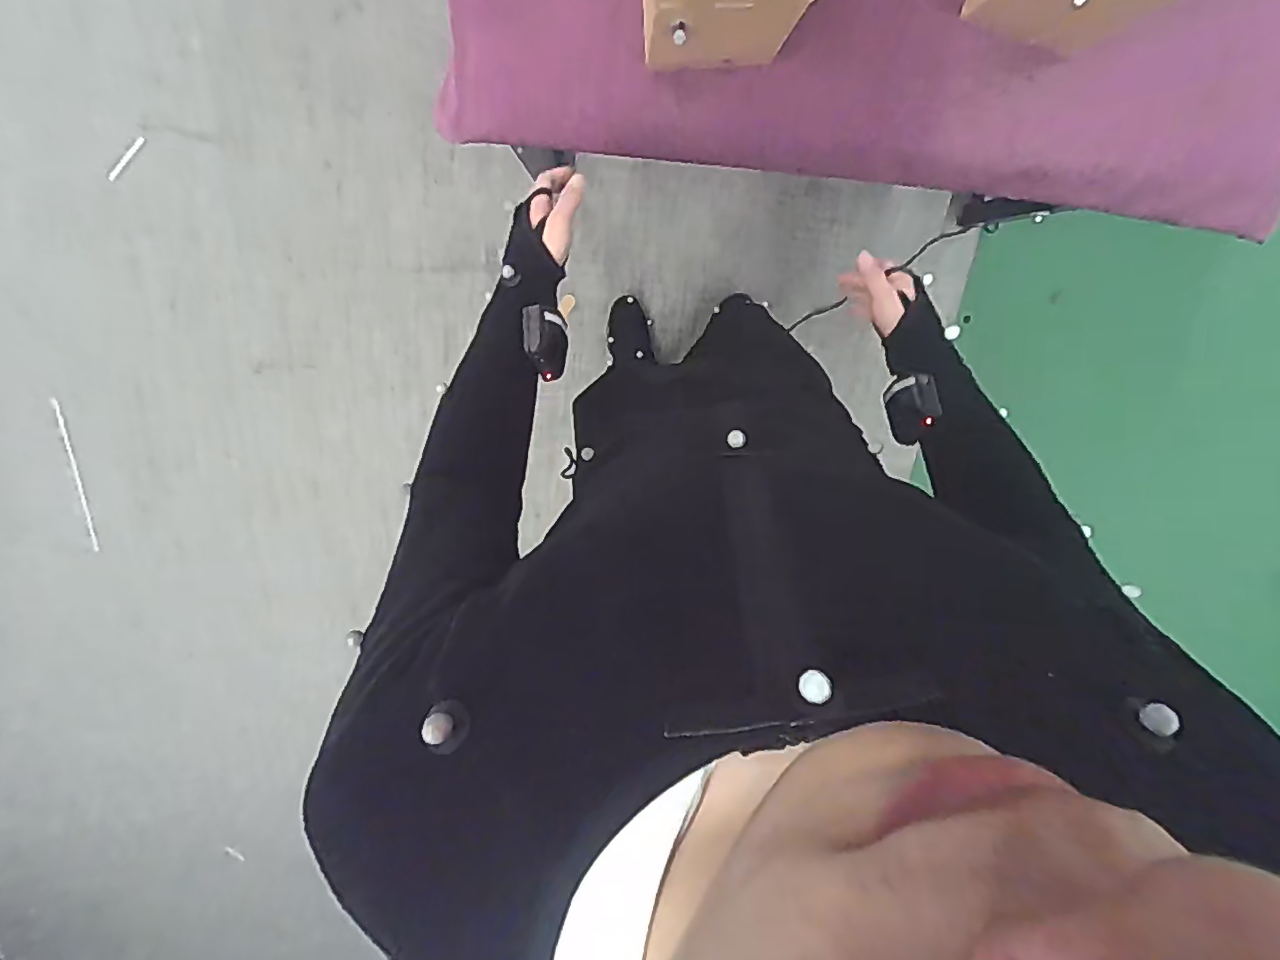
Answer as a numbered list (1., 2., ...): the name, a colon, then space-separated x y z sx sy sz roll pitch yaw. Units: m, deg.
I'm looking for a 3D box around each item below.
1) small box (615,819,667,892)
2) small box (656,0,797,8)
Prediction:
1. small box: -0.001 1.438 2.076 0.179 0.176 0.168 7 109 -5
2. small box: 0.100 -0.543 0.460 0.179 0.176 0.168 -3 108 -2
